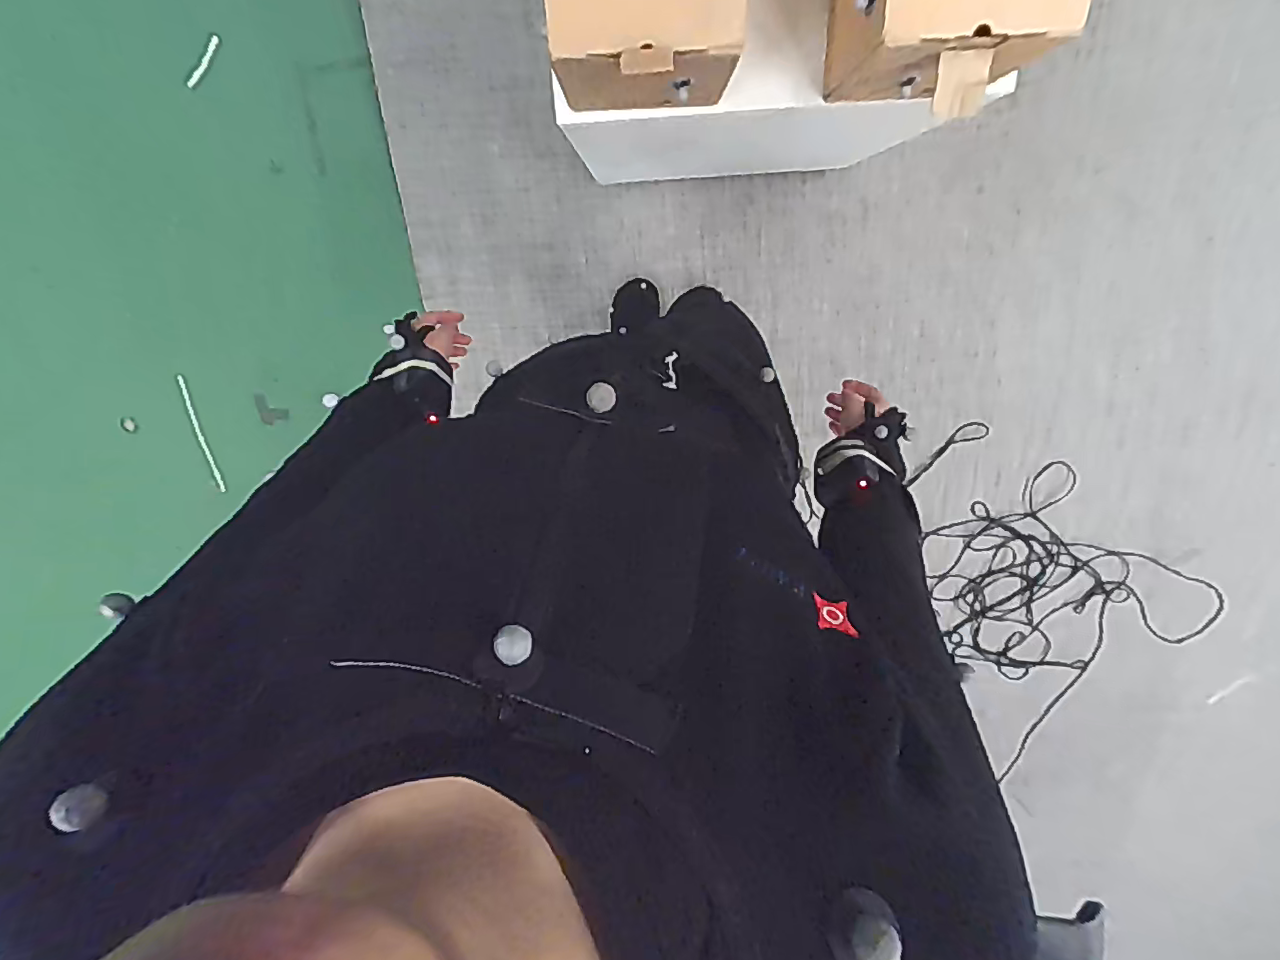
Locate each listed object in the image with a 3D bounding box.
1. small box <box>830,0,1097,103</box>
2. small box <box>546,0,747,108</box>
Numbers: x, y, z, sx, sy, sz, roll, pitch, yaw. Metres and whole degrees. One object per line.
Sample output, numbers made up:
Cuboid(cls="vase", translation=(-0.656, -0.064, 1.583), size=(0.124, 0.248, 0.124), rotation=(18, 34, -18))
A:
Cuboid(cls="small box", translation=(0.280, -0.467, 0.484), size=(0.168, 0.176, 0.179), rotation=(-2, 112, 2))
Cuboid(cls="small box", translation=(0.004, -0.459, 0.492), size=(0.168, 0.176, 0.179), rotation=(-2, 110, 0))
